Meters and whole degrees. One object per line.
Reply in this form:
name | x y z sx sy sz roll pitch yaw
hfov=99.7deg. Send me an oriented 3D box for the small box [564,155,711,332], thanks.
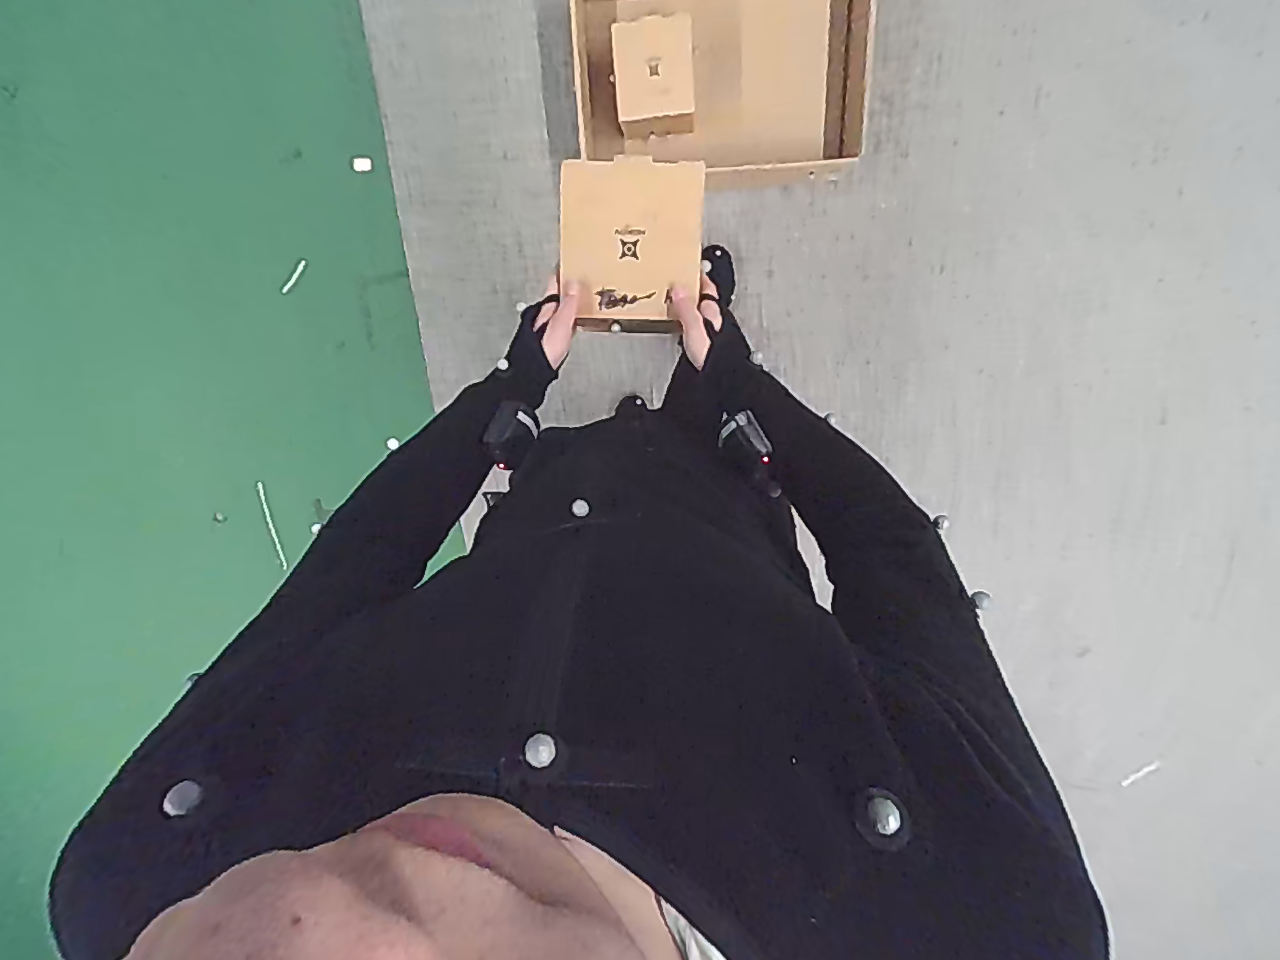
small box | -0.002 -0.292 0.701 0.168 0.176 0.179 3 101 3
